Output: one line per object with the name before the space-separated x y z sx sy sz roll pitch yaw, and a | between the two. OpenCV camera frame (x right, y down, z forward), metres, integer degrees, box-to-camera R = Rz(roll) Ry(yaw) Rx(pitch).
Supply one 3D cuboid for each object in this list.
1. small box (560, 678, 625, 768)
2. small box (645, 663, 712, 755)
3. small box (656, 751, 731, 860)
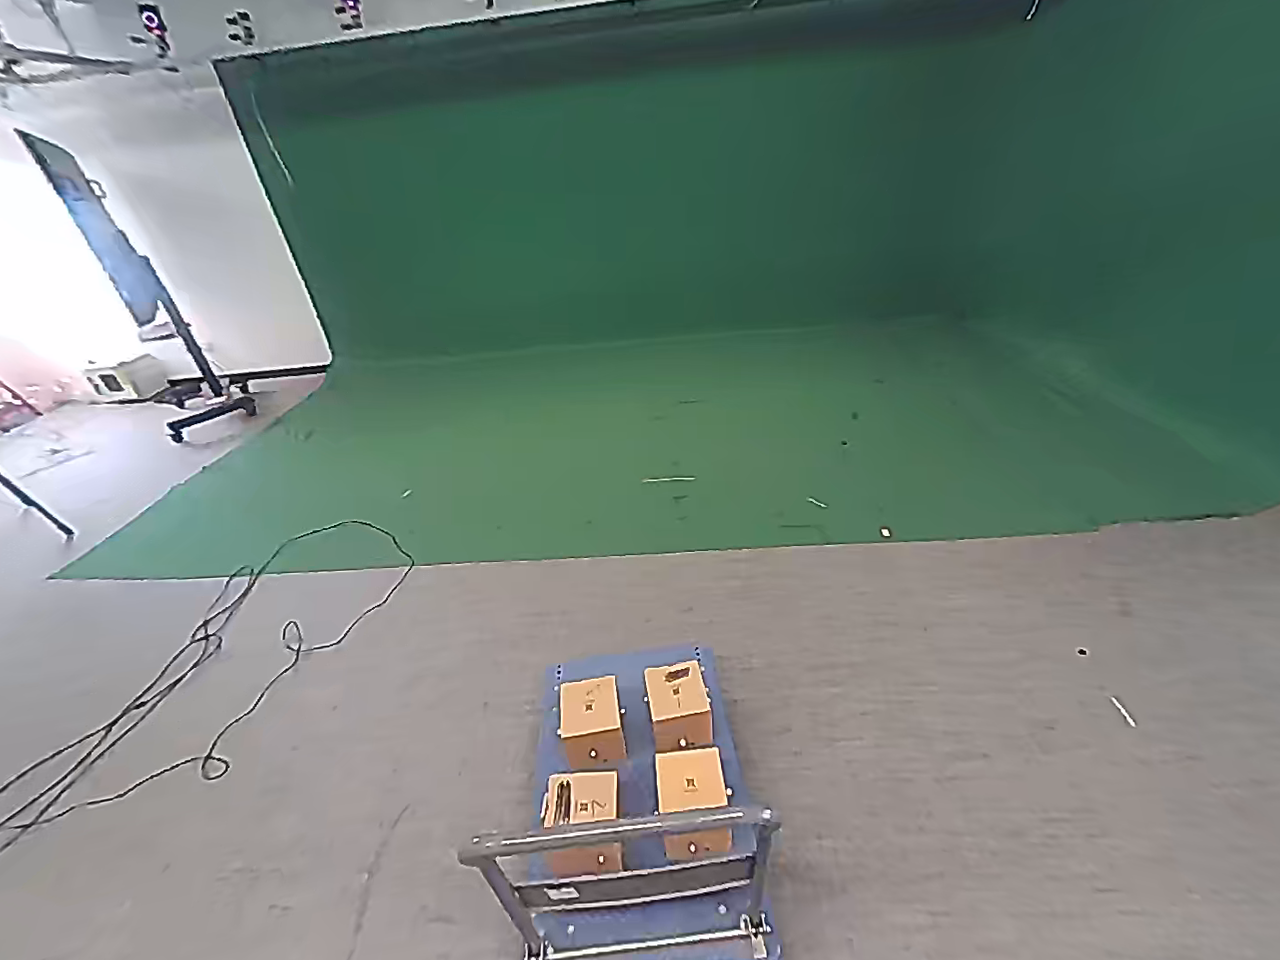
small box | -0.138 0.711 1.572 0.168 0.176 0.179 -8 33 -4
small box | 0.111 0.672 1.589 0.168 0.176 0.179 -9 34 -3
small box | 0.131 0.818 1.362 0.168 0.176 0.179 -6 33 0
